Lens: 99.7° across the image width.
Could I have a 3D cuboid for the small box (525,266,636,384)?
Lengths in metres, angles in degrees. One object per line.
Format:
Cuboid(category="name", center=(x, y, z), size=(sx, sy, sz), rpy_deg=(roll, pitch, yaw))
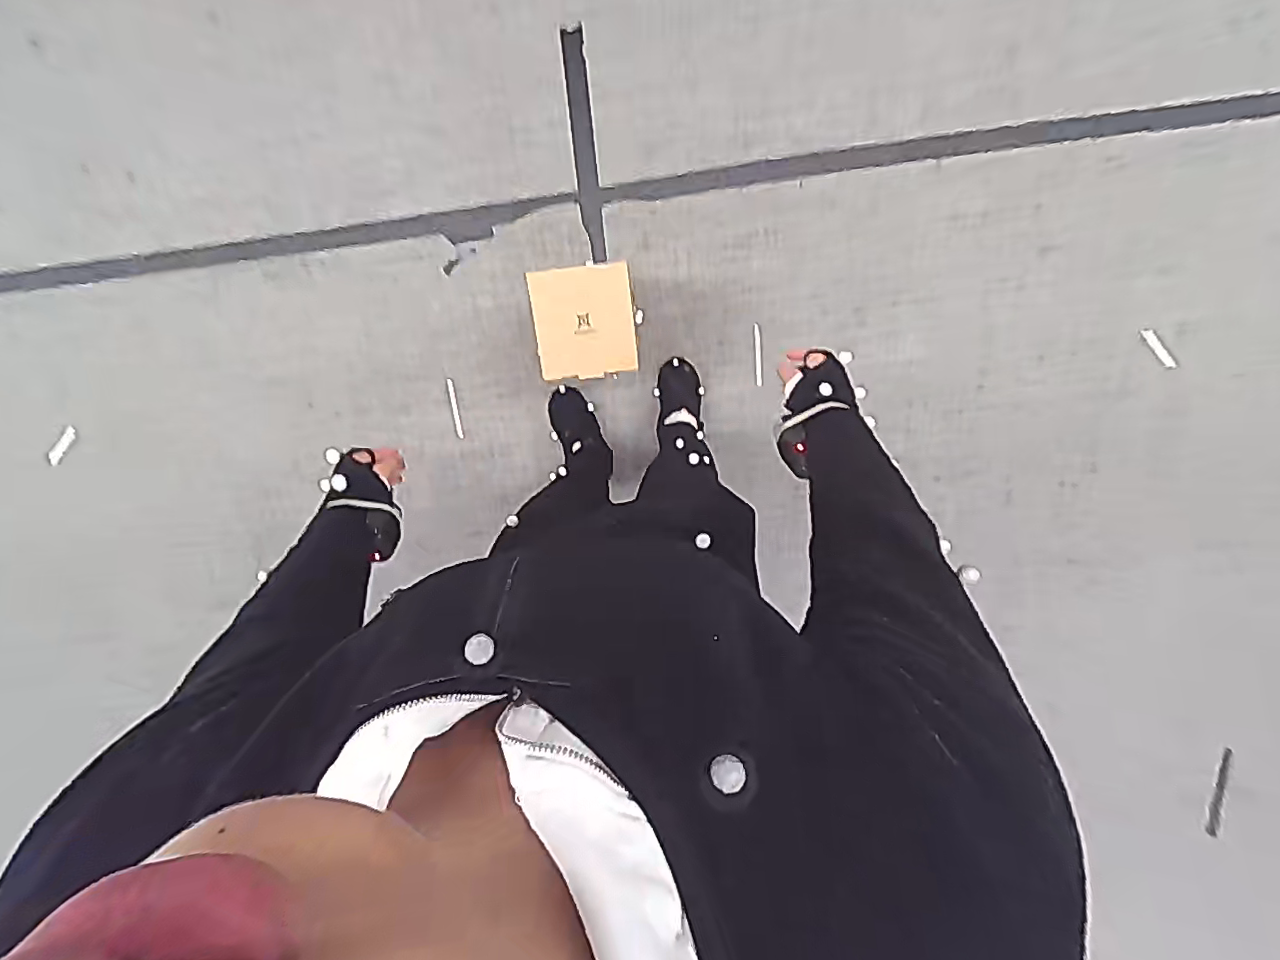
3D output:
Cuboid(category="small box", center=(-0.097, -0.278, 0.972), size=(0.168, 0.176, 0.179), rpy_deg=(-7, 106, 1))
